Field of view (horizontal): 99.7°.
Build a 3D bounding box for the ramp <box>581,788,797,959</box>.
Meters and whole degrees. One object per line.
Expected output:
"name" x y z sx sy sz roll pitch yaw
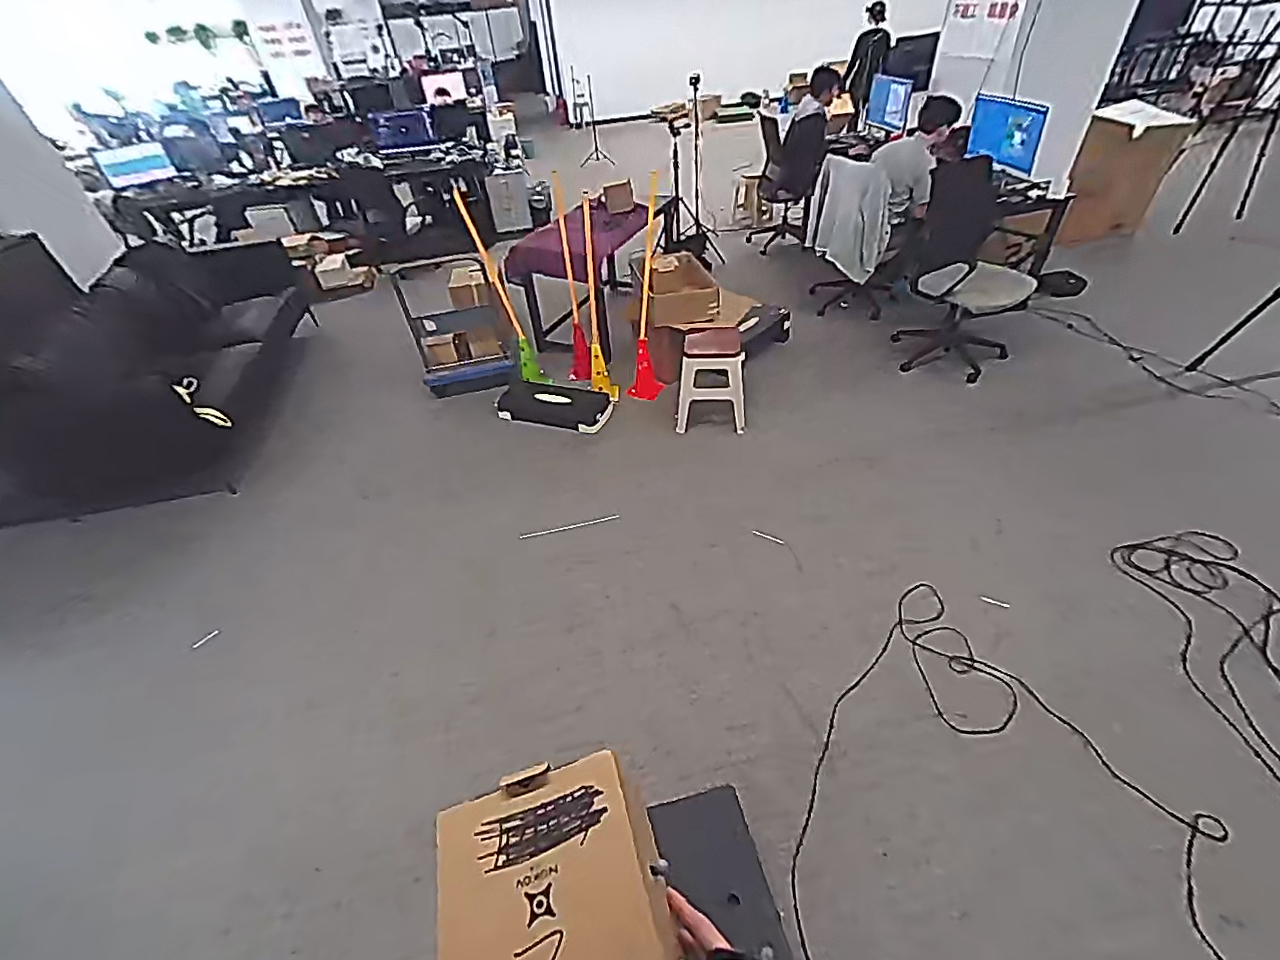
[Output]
"ramp" 0.152 1.233 1.201 0.509 0.206 0.991 -14 41 -6
